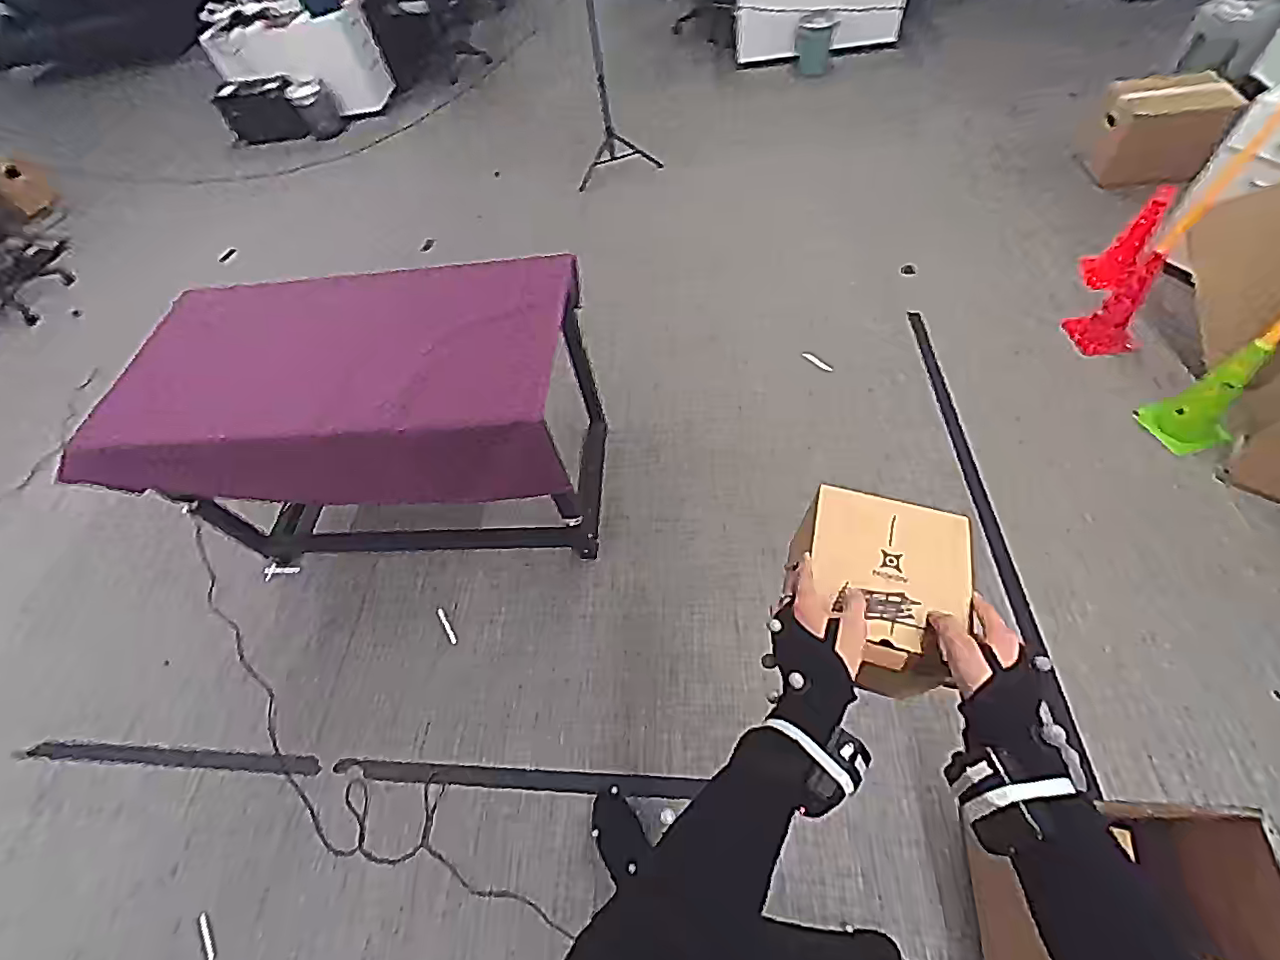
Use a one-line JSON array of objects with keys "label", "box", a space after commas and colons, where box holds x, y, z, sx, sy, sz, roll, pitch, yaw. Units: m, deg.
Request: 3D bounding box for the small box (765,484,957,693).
[{"label": "small box", "box": [0.251, 0.135, 0.641, 0.168, 0.176, 0.179, 13, 59, 9]}]
